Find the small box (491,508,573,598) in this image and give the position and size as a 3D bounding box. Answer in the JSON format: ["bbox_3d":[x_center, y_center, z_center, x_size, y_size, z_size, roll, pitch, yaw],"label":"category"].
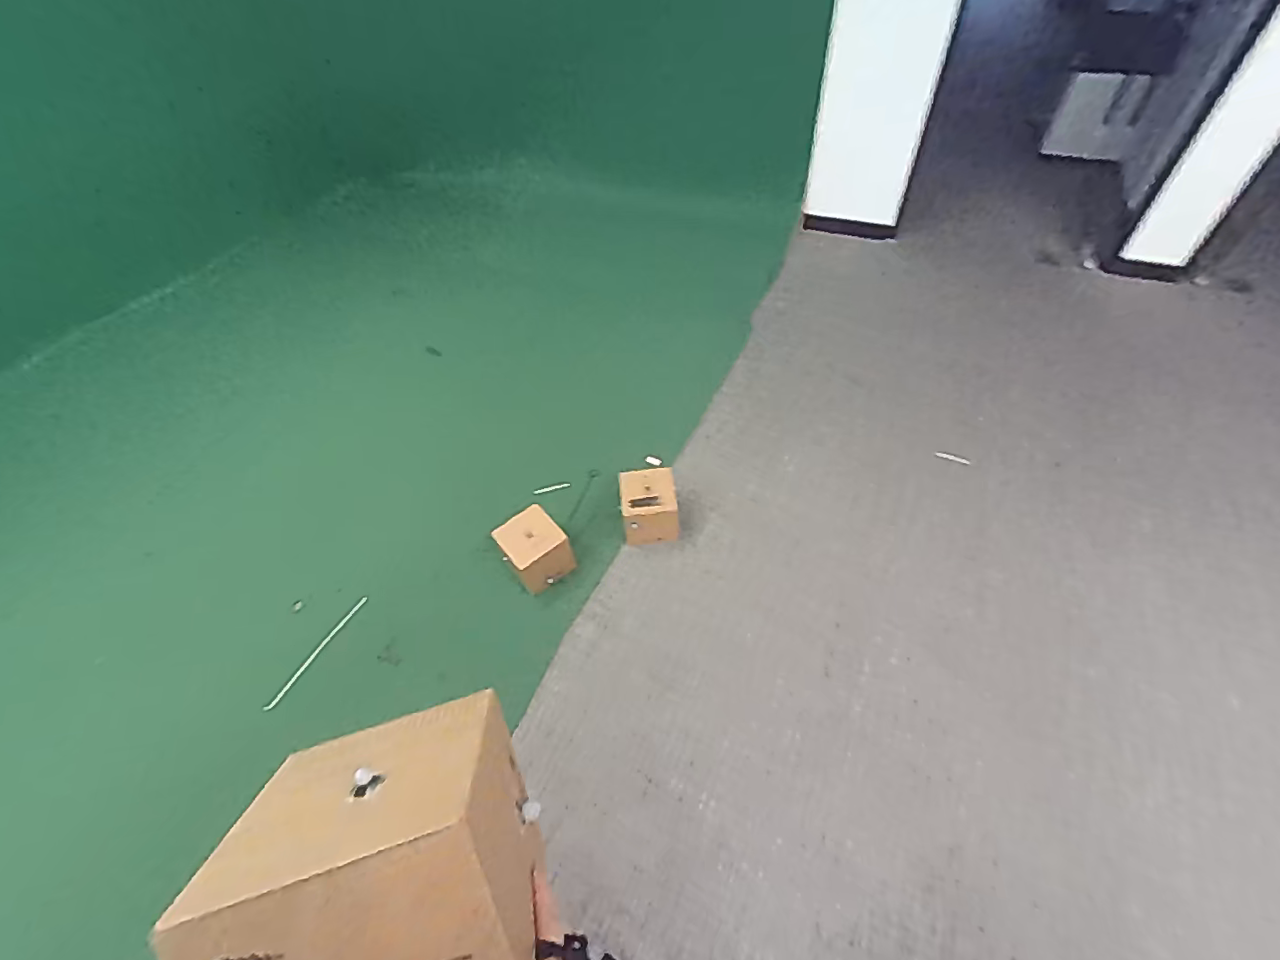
[{"bbox_3d":[-0.326,0.226,1.658,0.168,0.176,0.179,-34,55,-21],"label":"small box"}]
